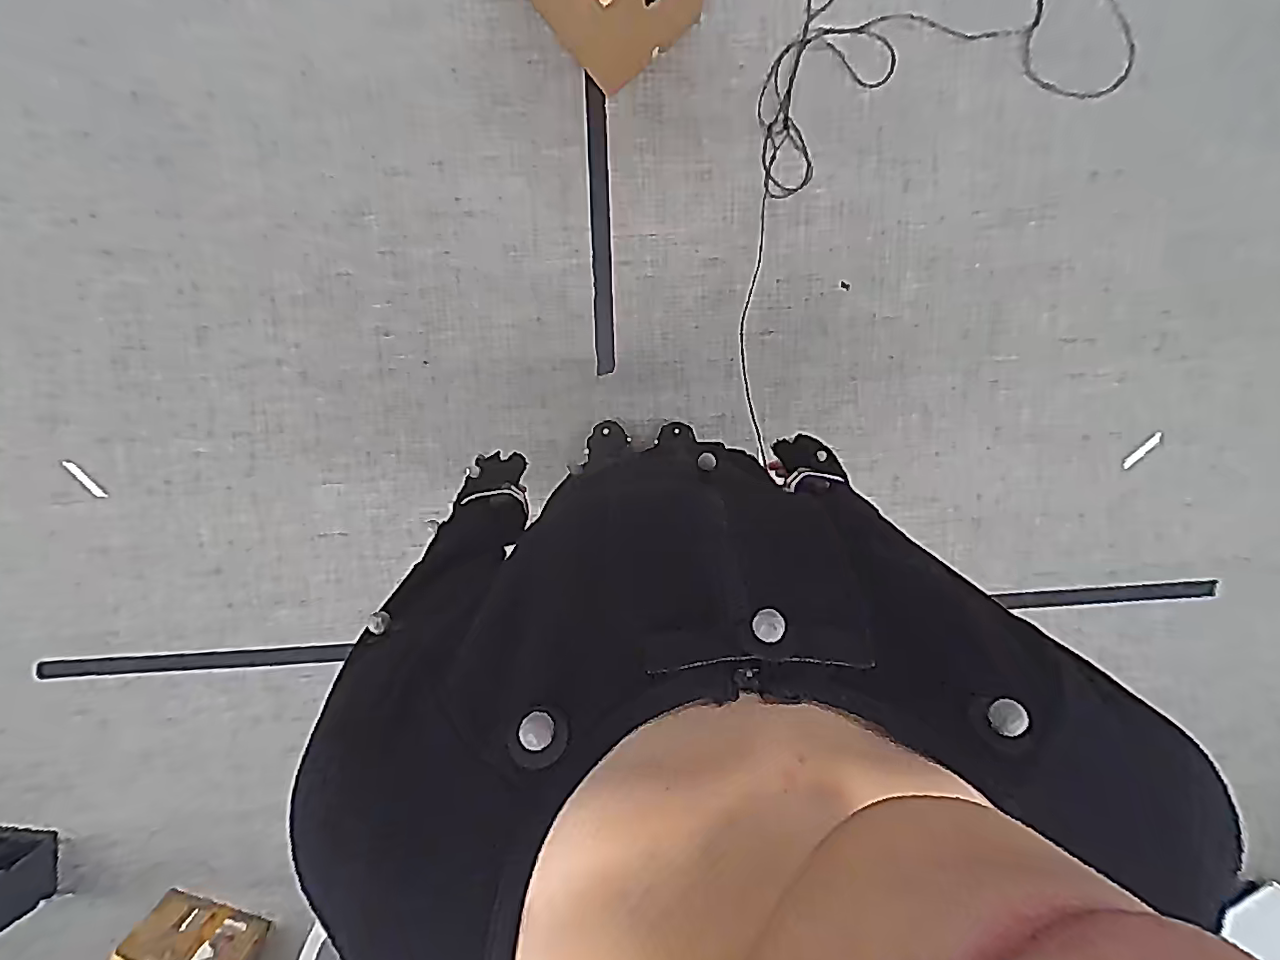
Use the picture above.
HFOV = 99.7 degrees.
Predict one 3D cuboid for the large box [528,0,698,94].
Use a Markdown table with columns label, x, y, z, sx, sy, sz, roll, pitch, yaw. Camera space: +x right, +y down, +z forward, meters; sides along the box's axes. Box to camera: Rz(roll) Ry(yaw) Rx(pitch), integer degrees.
| label | x | y | z | sx | sy | sz | roll | pitch | yaw |
| --- | --- | --- | --- | --- | --- | --- | --- | --- | --- |
| large box | -0.094 | -1.207 | 1.205 | 0.320 | 0.320 | 0.408 | -41 | 97 | 3 |
